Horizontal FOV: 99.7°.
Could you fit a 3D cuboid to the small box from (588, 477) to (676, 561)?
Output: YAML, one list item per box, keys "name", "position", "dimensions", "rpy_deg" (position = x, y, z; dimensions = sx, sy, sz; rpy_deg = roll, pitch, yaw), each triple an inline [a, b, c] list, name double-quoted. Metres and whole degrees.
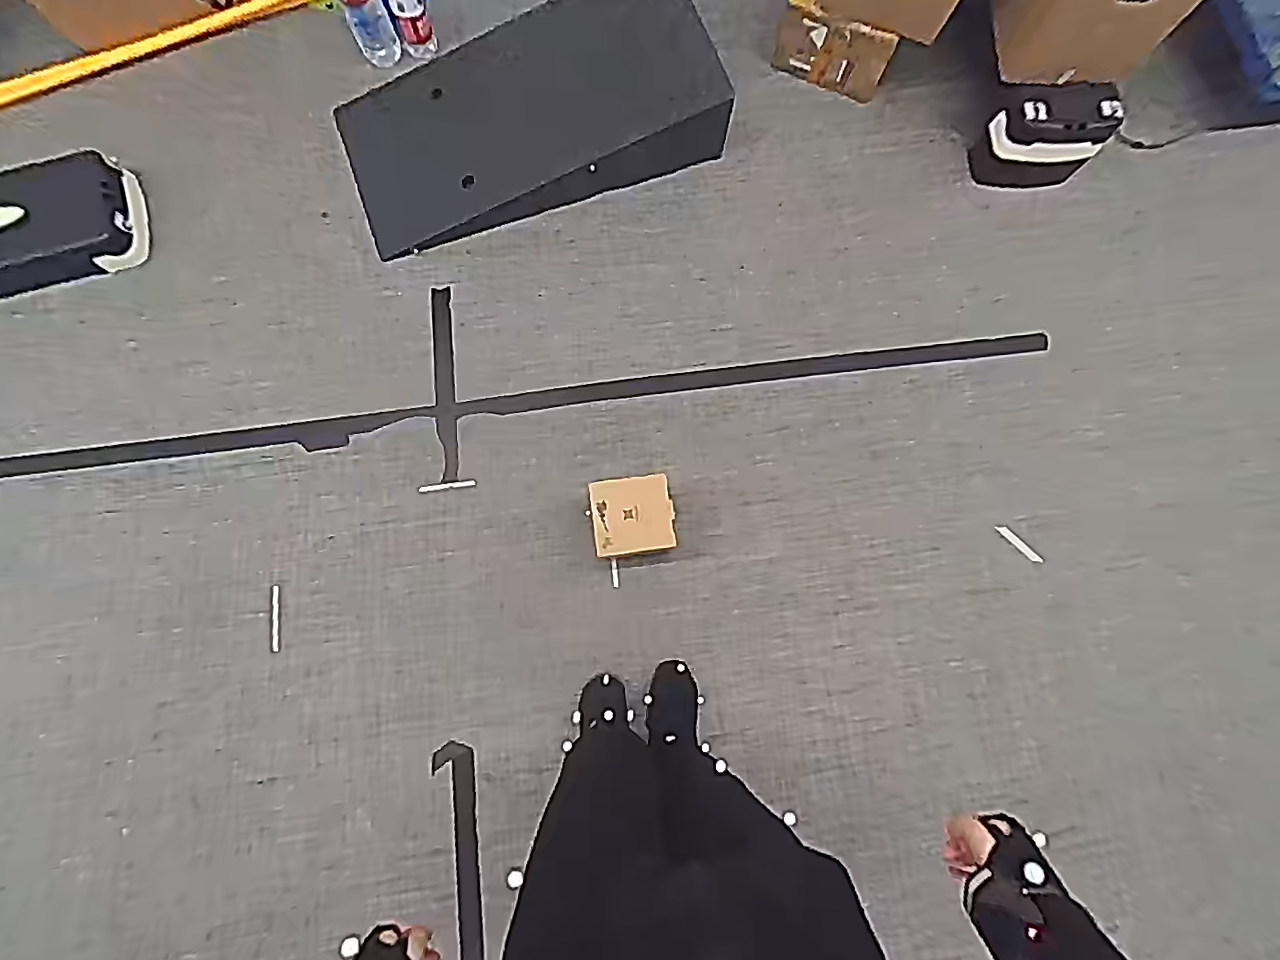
- name: "small box"
  position: [-0.023, 0.093, 1.244]
  dimensions: [0.179, 0.176, 0.168]
  rpy_deg: [-7, 80, -4]
